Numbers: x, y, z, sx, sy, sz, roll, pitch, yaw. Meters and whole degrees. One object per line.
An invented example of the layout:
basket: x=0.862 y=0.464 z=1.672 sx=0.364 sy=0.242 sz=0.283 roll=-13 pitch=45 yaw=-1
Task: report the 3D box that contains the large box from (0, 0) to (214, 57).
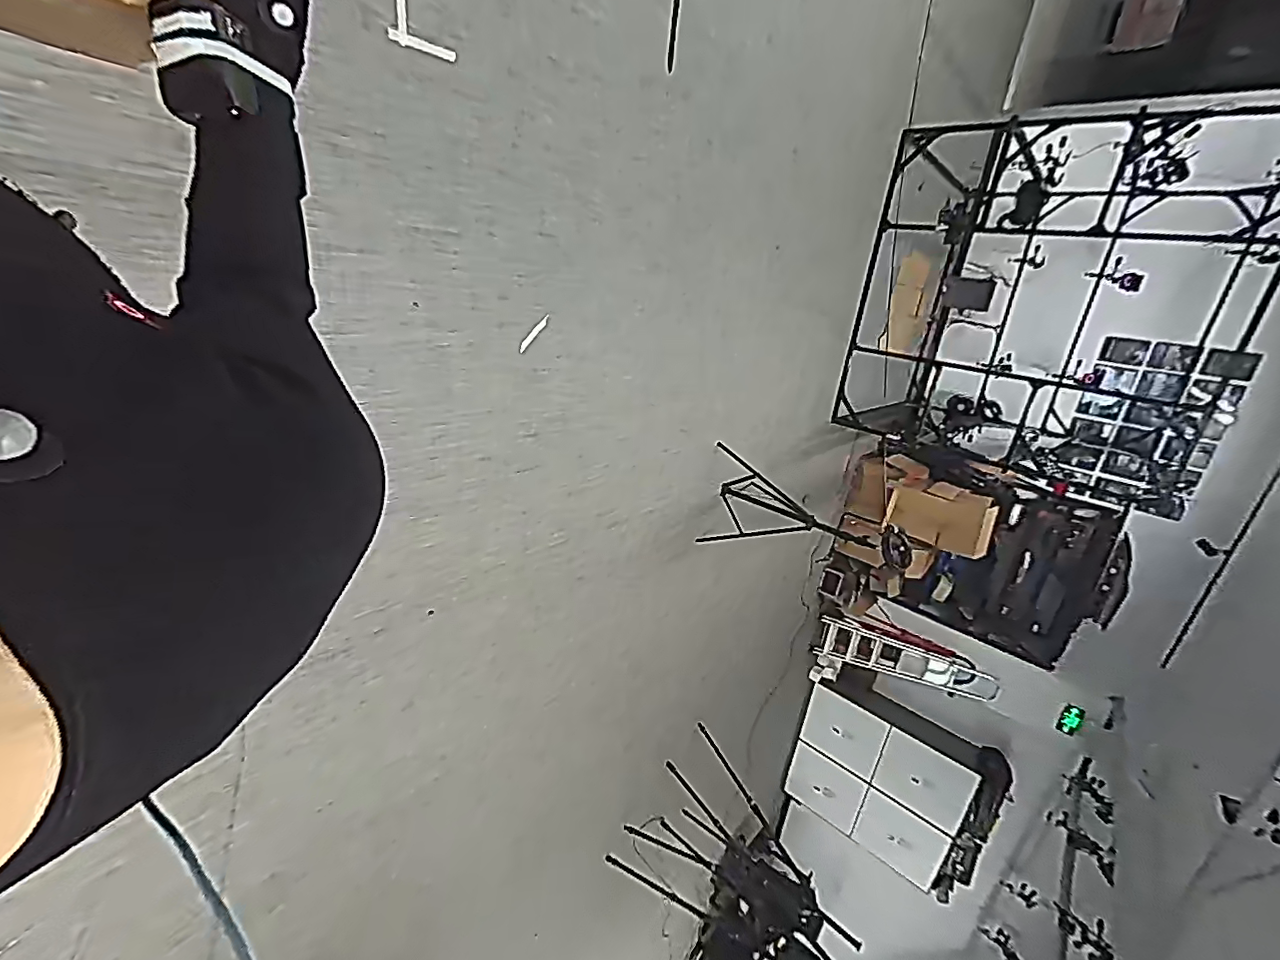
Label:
large box: x=-0.529 y=-0.492 z=0.283 sx=0.408 sy=0.320 sz=0.320 roll=-15 pitch=123 yaw=-48
